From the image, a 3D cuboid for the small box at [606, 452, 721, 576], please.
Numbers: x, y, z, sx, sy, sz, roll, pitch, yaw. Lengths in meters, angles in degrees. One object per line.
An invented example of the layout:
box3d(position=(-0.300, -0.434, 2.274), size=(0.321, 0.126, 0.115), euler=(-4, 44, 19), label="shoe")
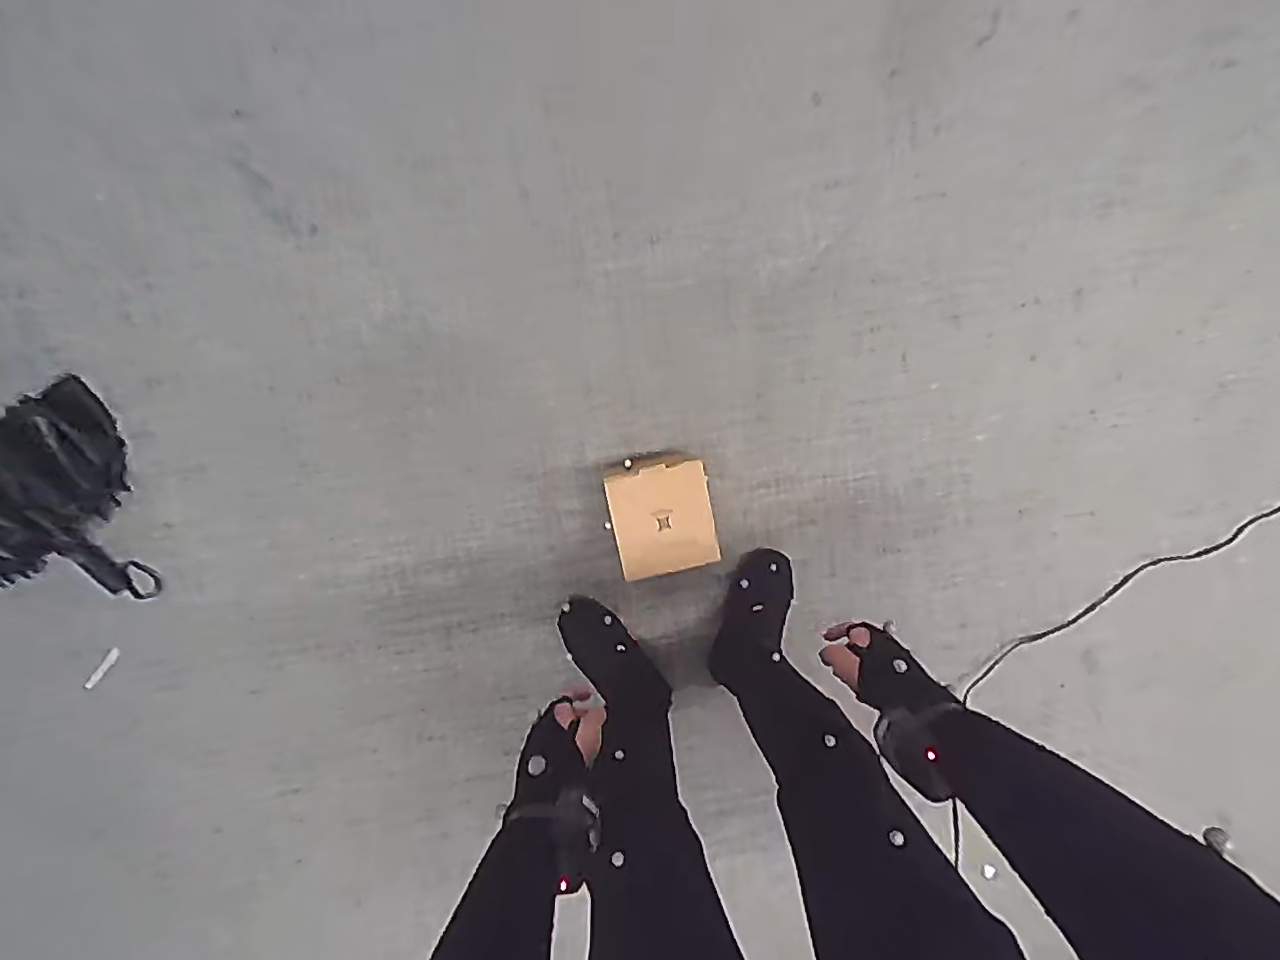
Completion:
box3d(position=(0.037, 0.050, 0.973), size=(0.168, 0.176, 0.179), euler=(-13, 99, 0), label="small box")
